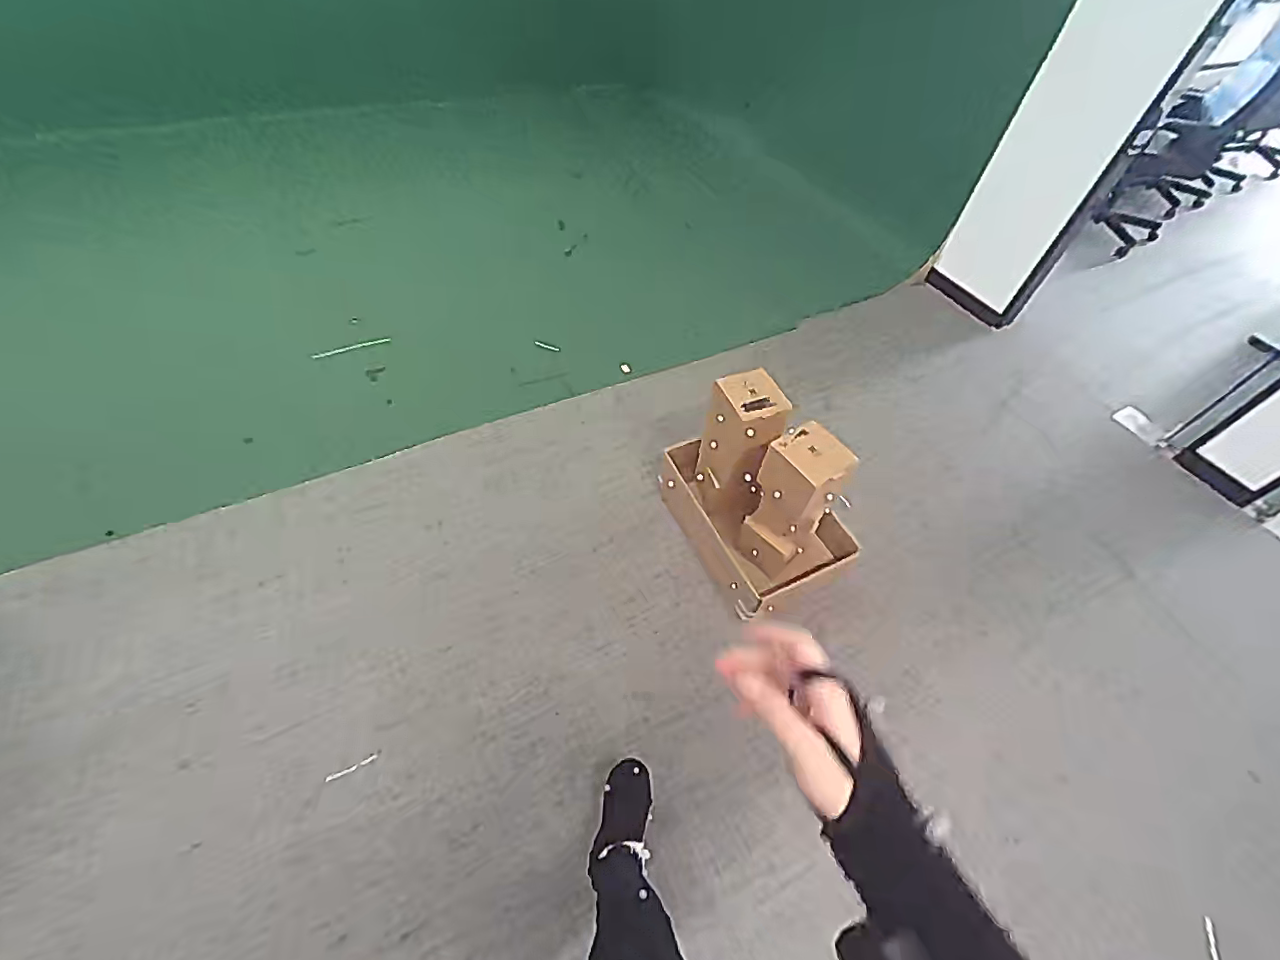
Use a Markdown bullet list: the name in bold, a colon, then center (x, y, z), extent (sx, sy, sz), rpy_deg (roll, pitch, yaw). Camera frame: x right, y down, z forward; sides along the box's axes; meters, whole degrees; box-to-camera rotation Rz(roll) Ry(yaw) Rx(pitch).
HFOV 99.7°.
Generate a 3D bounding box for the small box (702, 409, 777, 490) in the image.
- **small box**: center (0.315, -0.096, 1.726), extent (0.168, 0.176, 0.179), rpy_deg (-16, 58, -17)

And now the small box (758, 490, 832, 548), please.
- **small box**: center (0.468, 0.072, 1.614), extent (0.168, 0.176, 0.179), rpy_deg (33, 57, 19)

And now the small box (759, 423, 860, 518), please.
- **small box**: center (0.454, -0.019, 1.476), extent (0.168, 0.176, 0.179), rpy_deg (-27, 60, -22)

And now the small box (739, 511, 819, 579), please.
- **small box**: center (0.434, 0.186, 1.729), extent (0.179, 0.176, 0.168), rpy_deg (-35, 62, -27)
